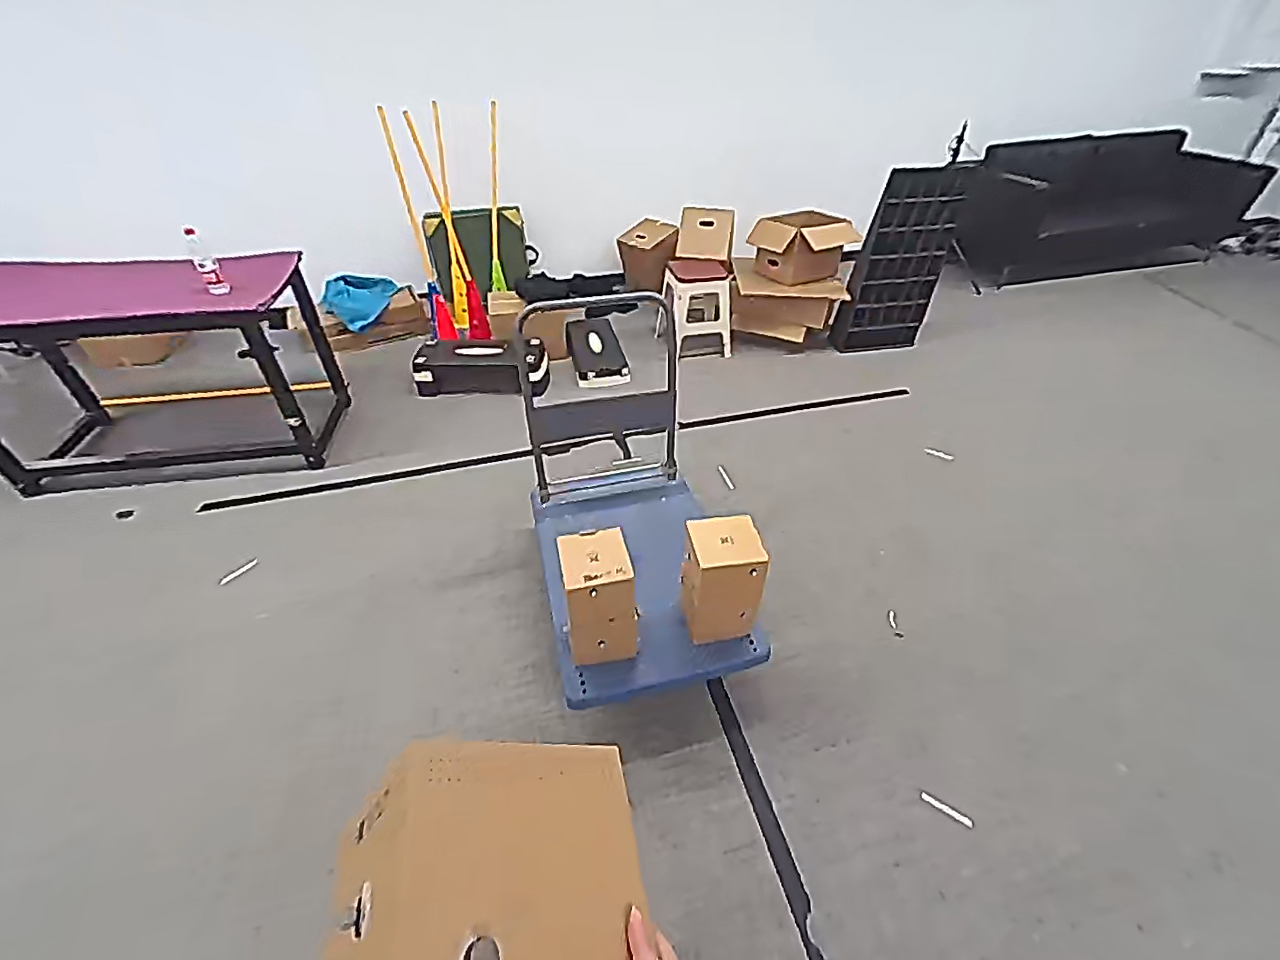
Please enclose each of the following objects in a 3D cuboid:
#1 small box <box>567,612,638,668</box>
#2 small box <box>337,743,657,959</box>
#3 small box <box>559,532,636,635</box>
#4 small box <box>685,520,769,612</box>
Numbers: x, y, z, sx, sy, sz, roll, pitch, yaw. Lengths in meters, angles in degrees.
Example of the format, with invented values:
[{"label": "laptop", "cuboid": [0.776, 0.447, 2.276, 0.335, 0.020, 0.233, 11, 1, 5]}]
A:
[{"label": "small box", "cuboid": [-0.105, 0.386, 1.466, 0.179, 0.176, 0.168, -7, 40, -8]}, {"label": "small box", "cuboid": [-0.115, 0.315, 0.405, 0.179, 0.168, 0.176, 20, 34, -31]}, {"label": "small box", "cuboid": [-0.109, 0.259, 1.361, 0.168, 0.176, 0.179, -8, 39, -10]}, {"label": "small box", "cuboid": [0.217, 0.226, 1.408, 0.179, 0.176, 0.168, -5, 40, -8]}]
